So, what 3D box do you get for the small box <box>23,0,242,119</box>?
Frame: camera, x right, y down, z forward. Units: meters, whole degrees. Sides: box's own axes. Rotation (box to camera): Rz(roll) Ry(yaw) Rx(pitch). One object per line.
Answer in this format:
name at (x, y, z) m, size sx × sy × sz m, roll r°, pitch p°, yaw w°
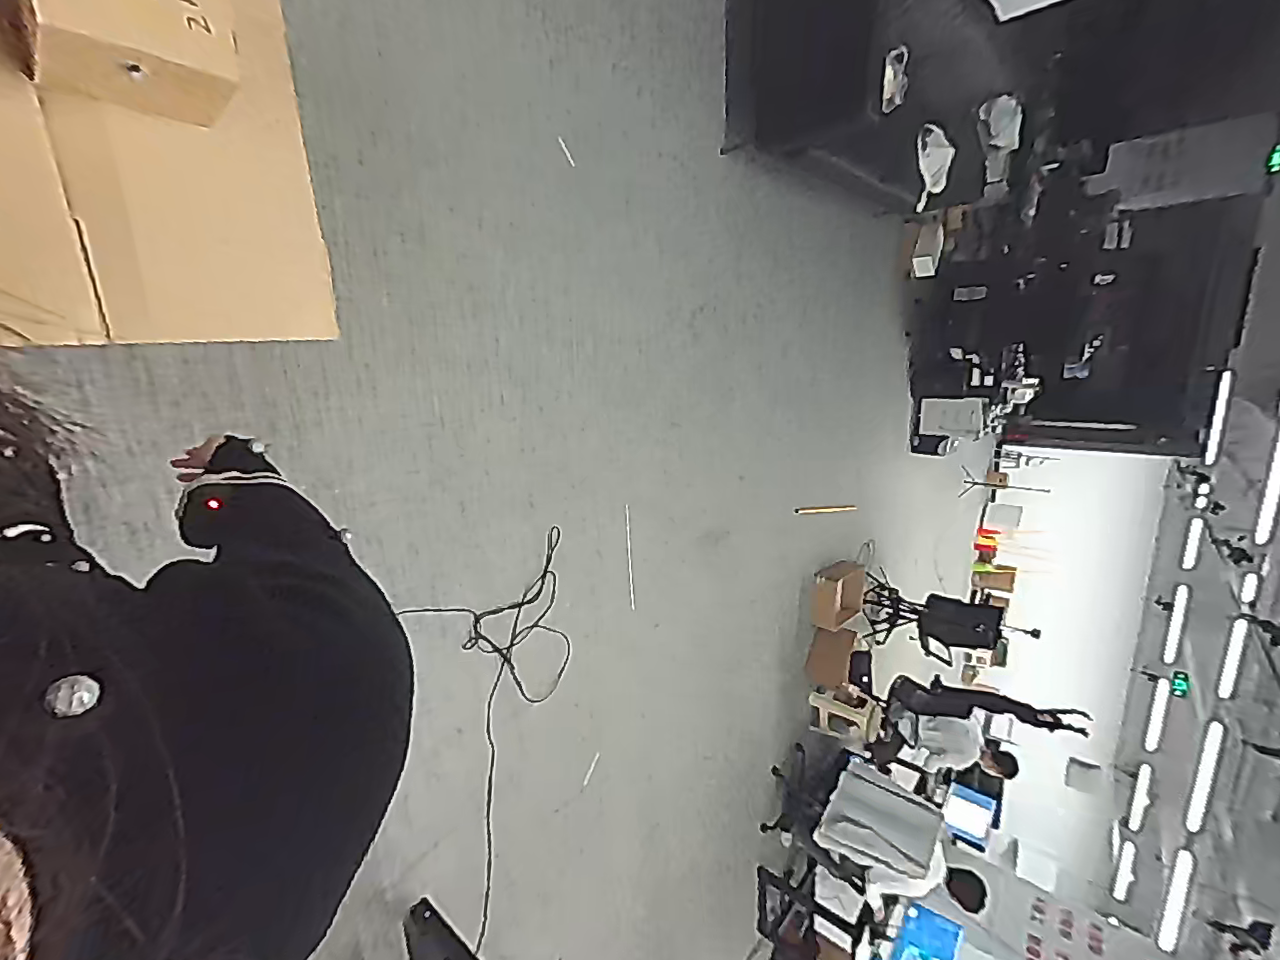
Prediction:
small box at (-0.606, -0.562, 0.640) m, size 0.179 × 0.176 × 0.168 m, roll -13°, pitch 107°, yaw -46°
